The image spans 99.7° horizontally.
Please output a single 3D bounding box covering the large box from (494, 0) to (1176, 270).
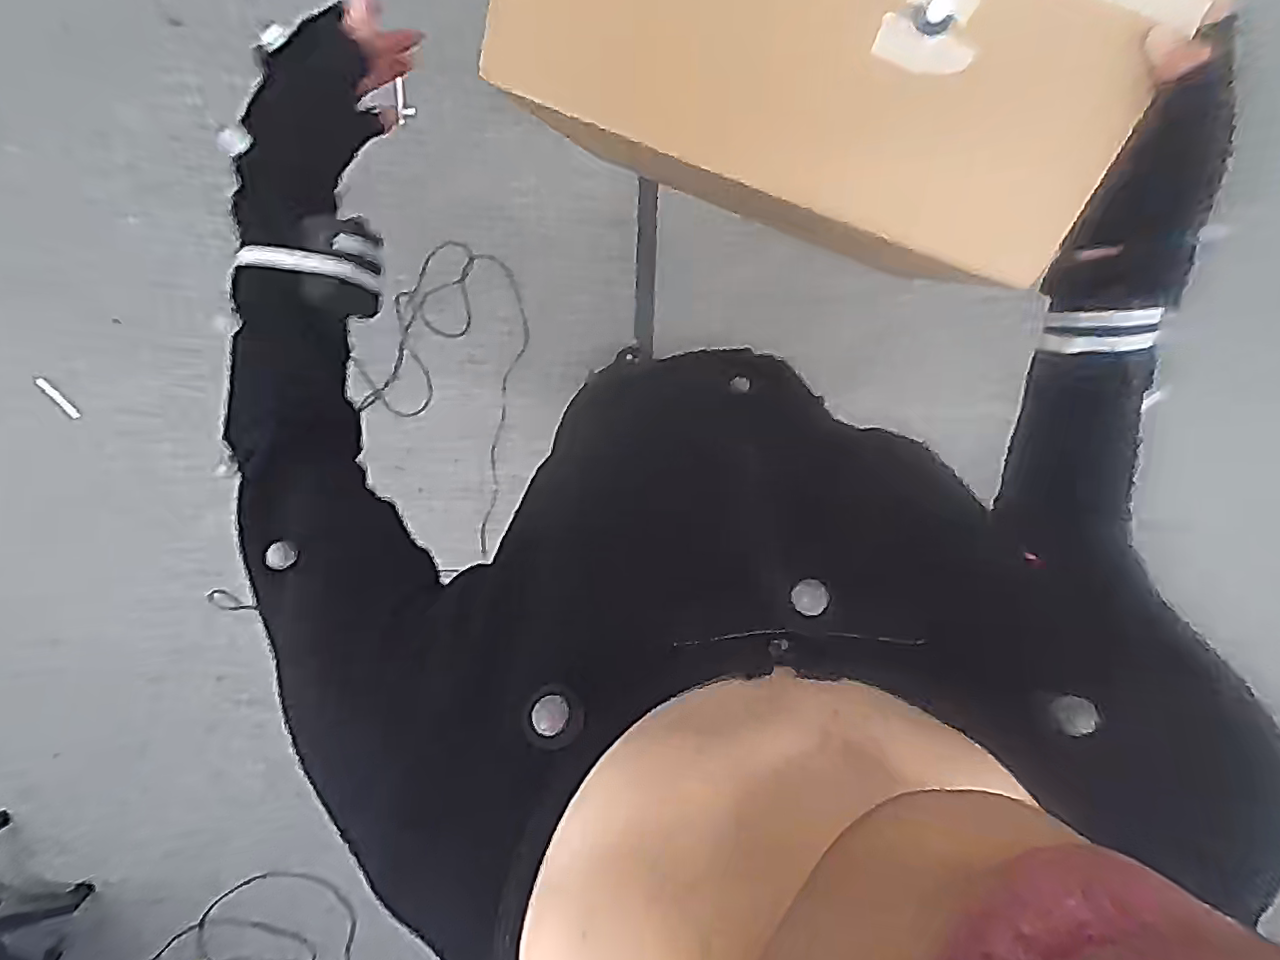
[{"bbox_3d":[0.147,-0.398,0.459,0.408,0.320,0.320,21,114,1],"label":"large box"}]
